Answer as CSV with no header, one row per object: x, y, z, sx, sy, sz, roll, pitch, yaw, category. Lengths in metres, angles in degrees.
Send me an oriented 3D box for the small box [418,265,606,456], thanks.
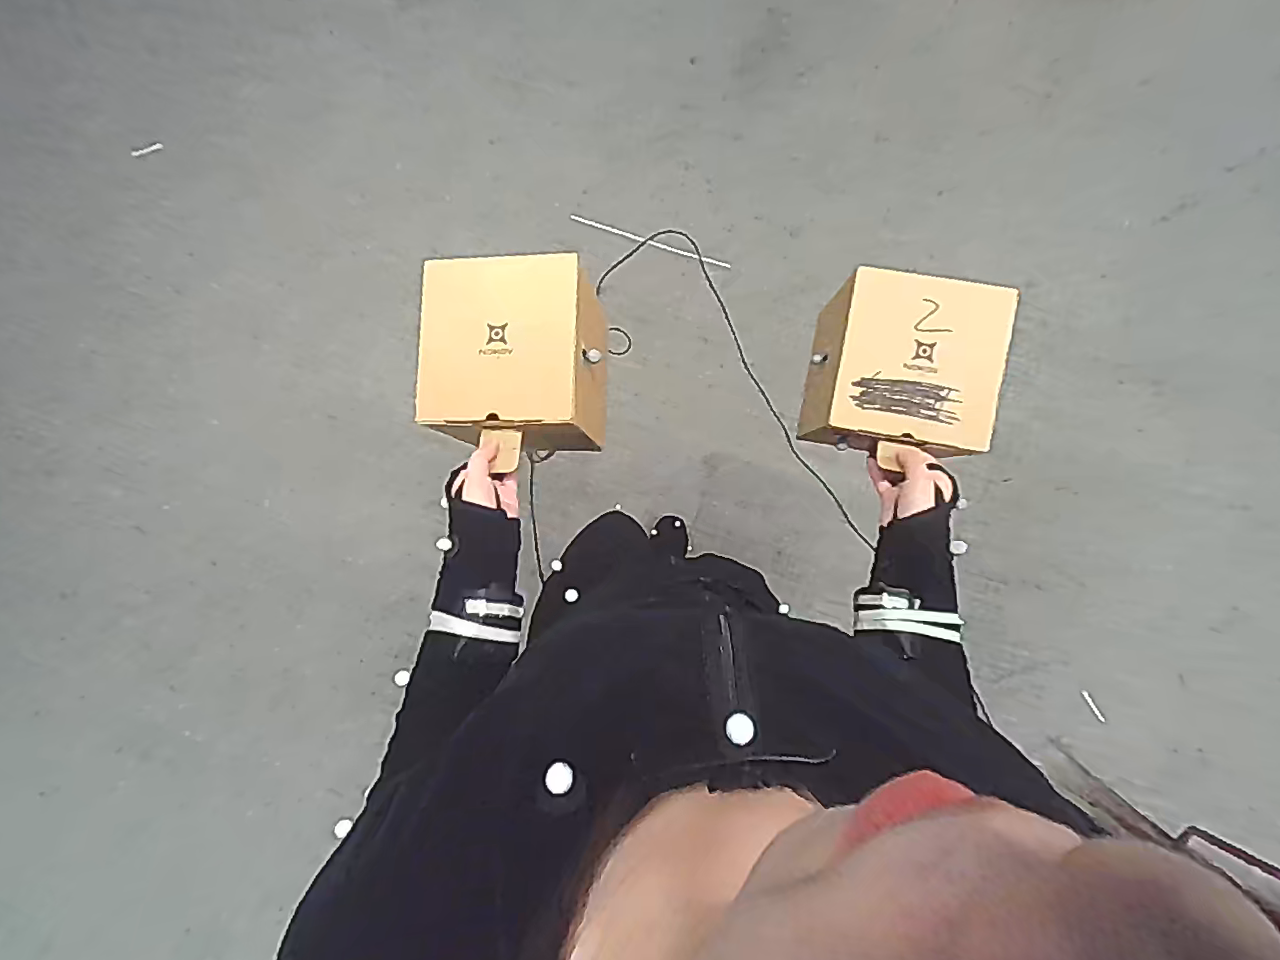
-0.136,-0.128,0.634,0.168,0.176,0.179,0,84,7,small box
